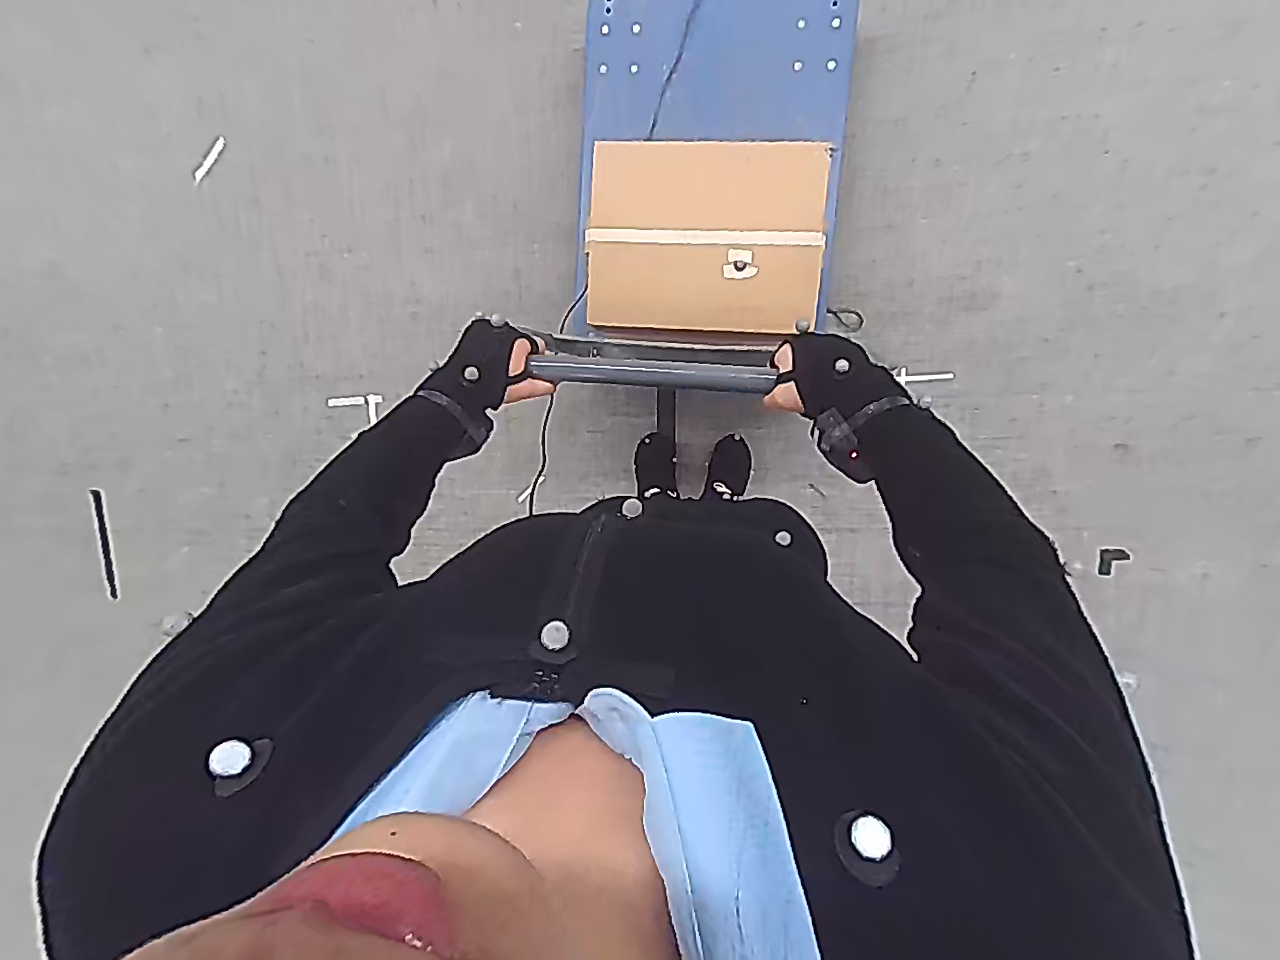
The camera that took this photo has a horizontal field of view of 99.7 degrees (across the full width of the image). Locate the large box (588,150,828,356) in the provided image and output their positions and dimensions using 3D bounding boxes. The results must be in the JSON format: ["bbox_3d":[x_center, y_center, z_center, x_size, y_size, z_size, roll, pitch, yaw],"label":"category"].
[{"bbox_3d":[0.124,-0.426,1.084,0.408,0.320,0.320,4,99,6],"label":"large box"}]
